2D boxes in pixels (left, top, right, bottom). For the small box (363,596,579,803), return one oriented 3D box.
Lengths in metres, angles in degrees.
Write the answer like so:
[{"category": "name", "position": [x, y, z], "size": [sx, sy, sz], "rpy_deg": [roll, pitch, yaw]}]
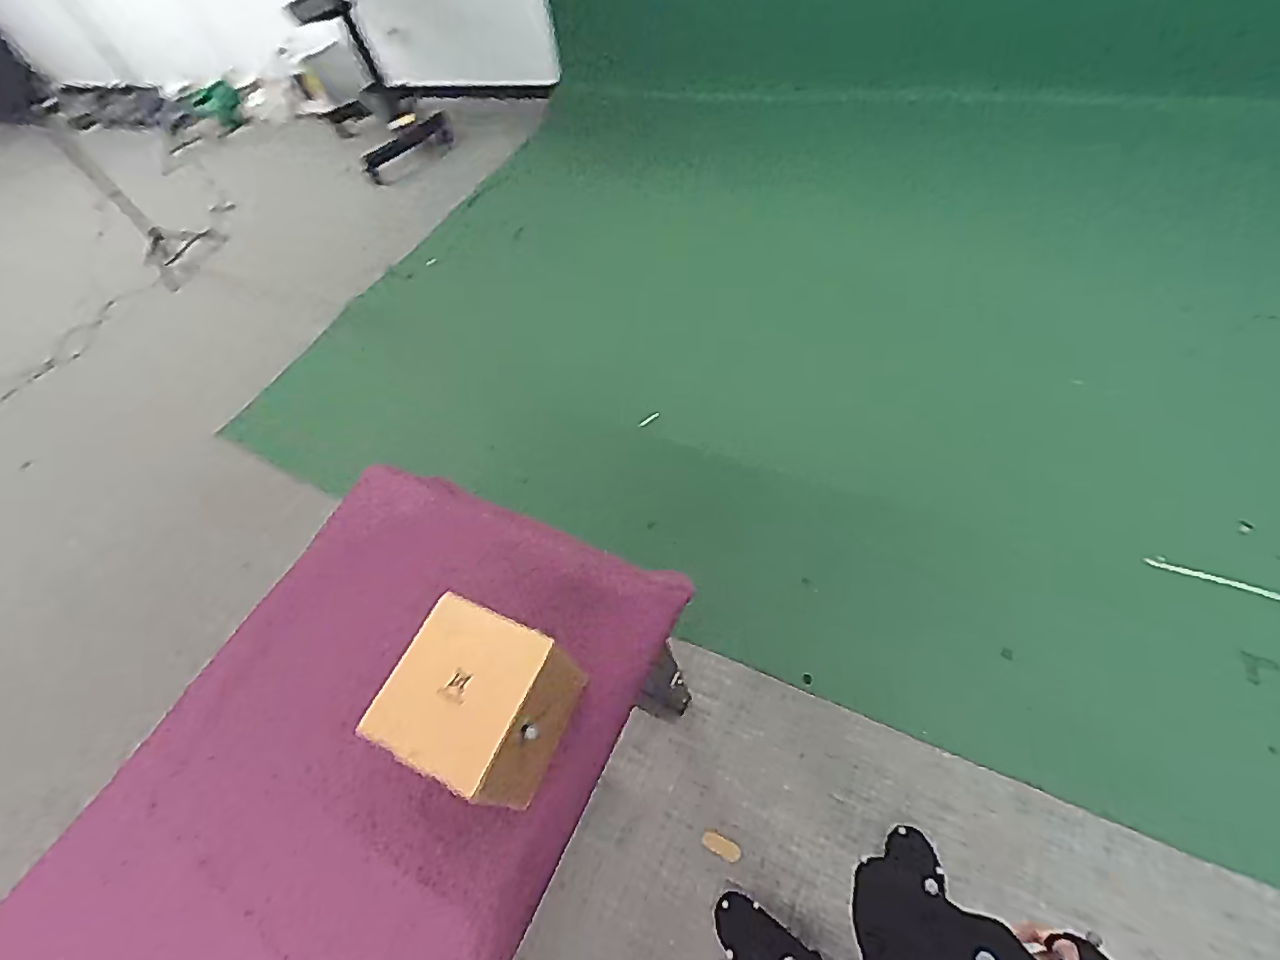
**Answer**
[{"category": "small box", "position": [-0.192, 0.277, 0.680], "size": [0.168, 0.176, 0.179], "rpy_deg": [16, 62, 21]}]
